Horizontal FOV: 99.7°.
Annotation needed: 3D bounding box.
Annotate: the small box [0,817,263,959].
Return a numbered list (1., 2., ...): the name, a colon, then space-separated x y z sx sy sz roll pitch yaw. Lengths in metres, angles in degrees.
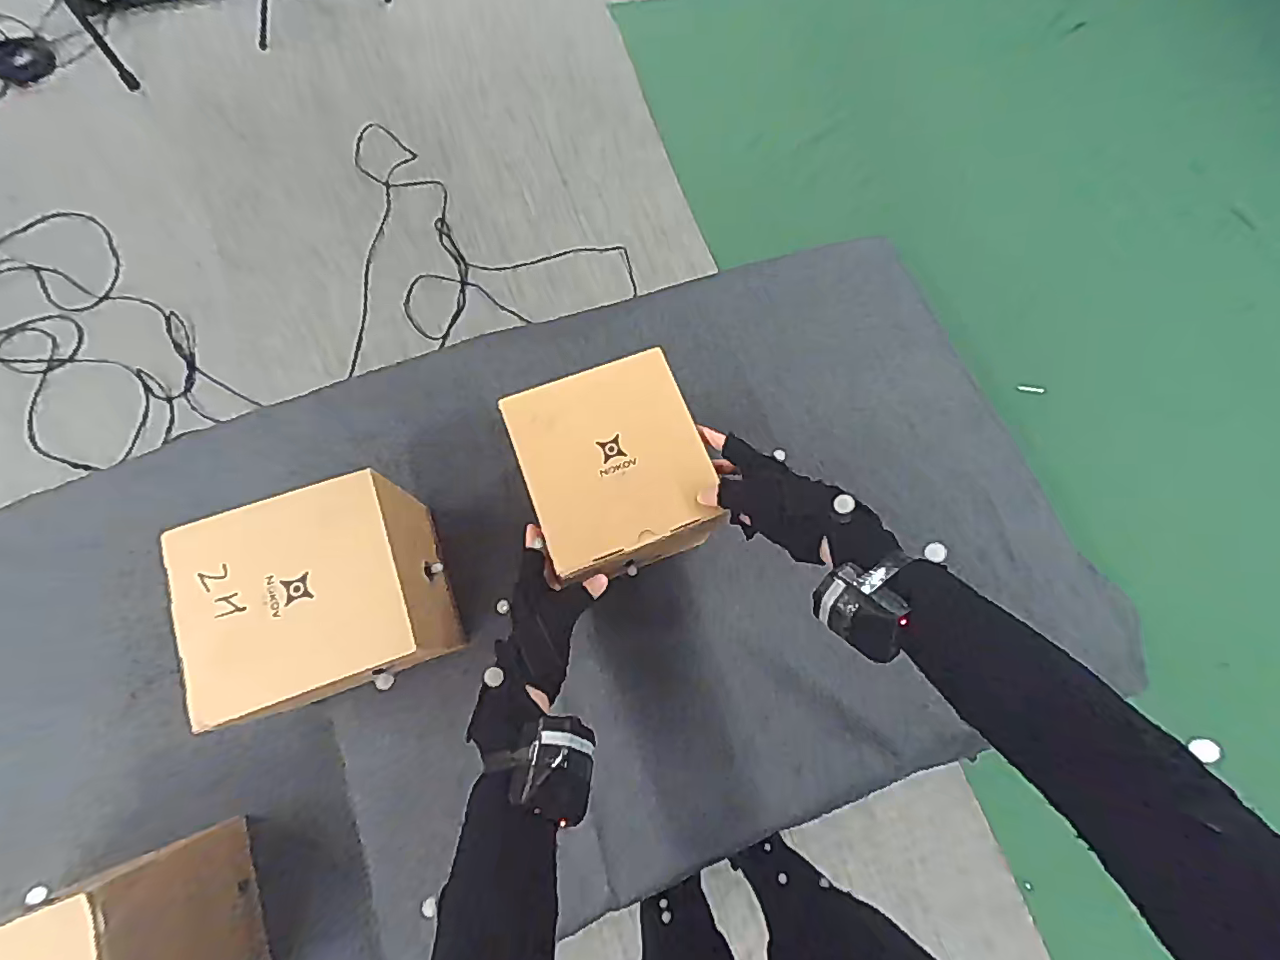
1. small box: -0.438 0.406 0.429 0.179 0.176 0.168 -20 76 -8

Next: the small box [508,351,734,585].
1. small box: -0.025 -0.002 0.571 0.168 0.176 0.179 -20 77 -9

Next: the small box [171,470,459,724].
1. small box: -0.288 0.108 0.521 0.179 0.176 0.168 -18 77 -8
